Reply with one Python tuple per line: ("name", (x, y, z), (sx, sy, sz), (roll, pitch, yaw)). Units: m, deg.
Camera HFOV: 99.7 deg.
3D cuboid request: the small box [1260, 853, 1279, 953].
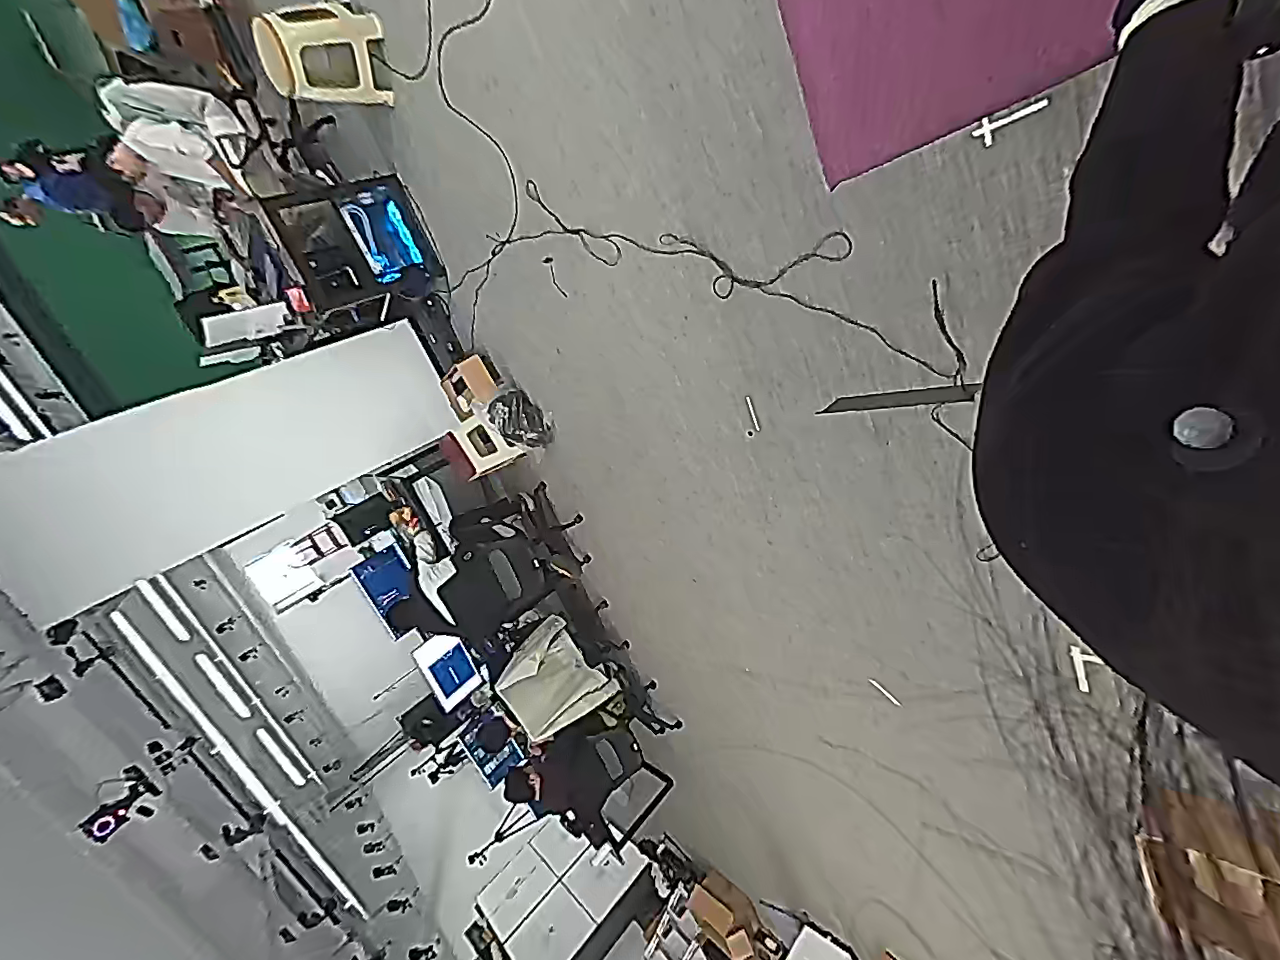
("small box", (1.718, 1.106, 1.368), (0.168, 0.176, 0.179), (-13, 108, 55))
